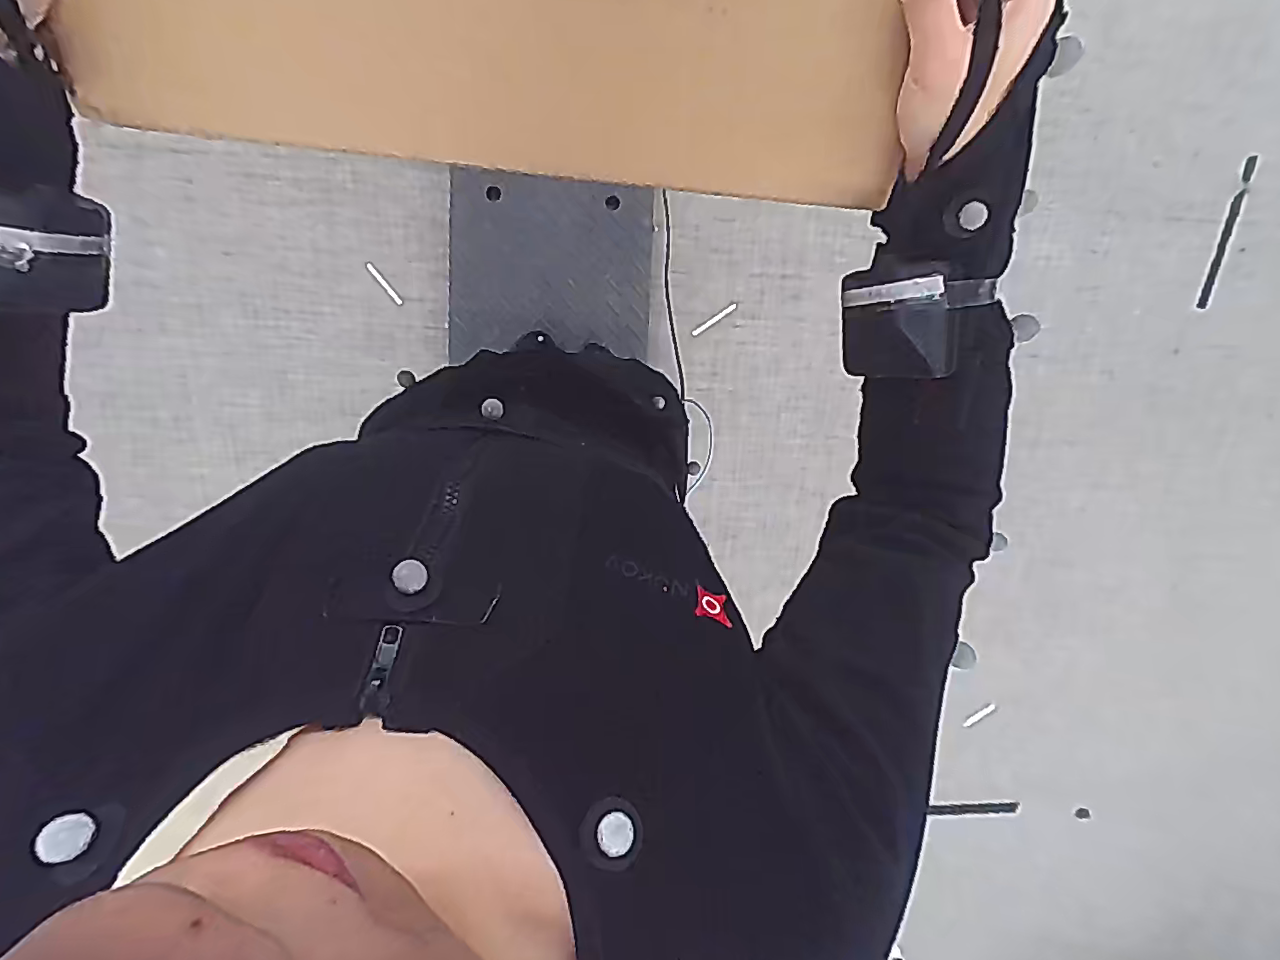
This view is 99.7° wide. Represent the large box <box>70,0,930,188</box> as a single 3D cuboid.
[{"bbox_3d":[-0.060,-0.380,0.330,0.408,0.320,0.320,3,123,-7],"label":"large box"}]
